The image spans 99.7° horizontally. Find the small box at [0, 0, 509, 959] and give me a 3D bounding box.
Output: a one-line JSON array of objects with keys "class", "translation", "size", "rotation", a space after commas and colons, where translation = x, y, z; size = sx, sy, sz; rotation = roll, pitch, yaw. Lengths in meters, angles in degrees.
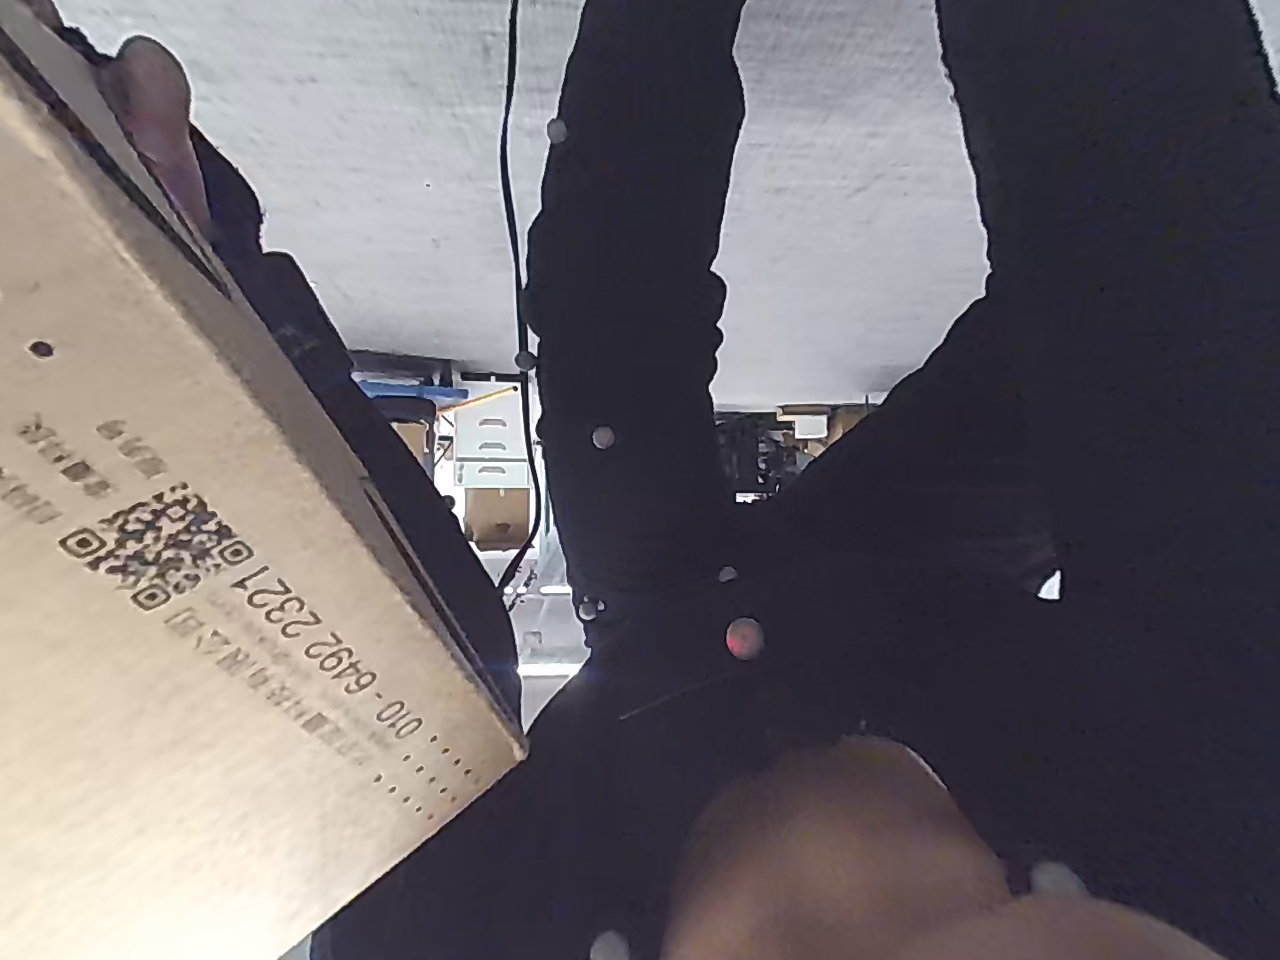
[{"class": "small box", "translation": [-0.159, 0.012, 0.133], "size": [0.176, 0.168, 0.179], "rotation": [-33, -137, -22]}]
